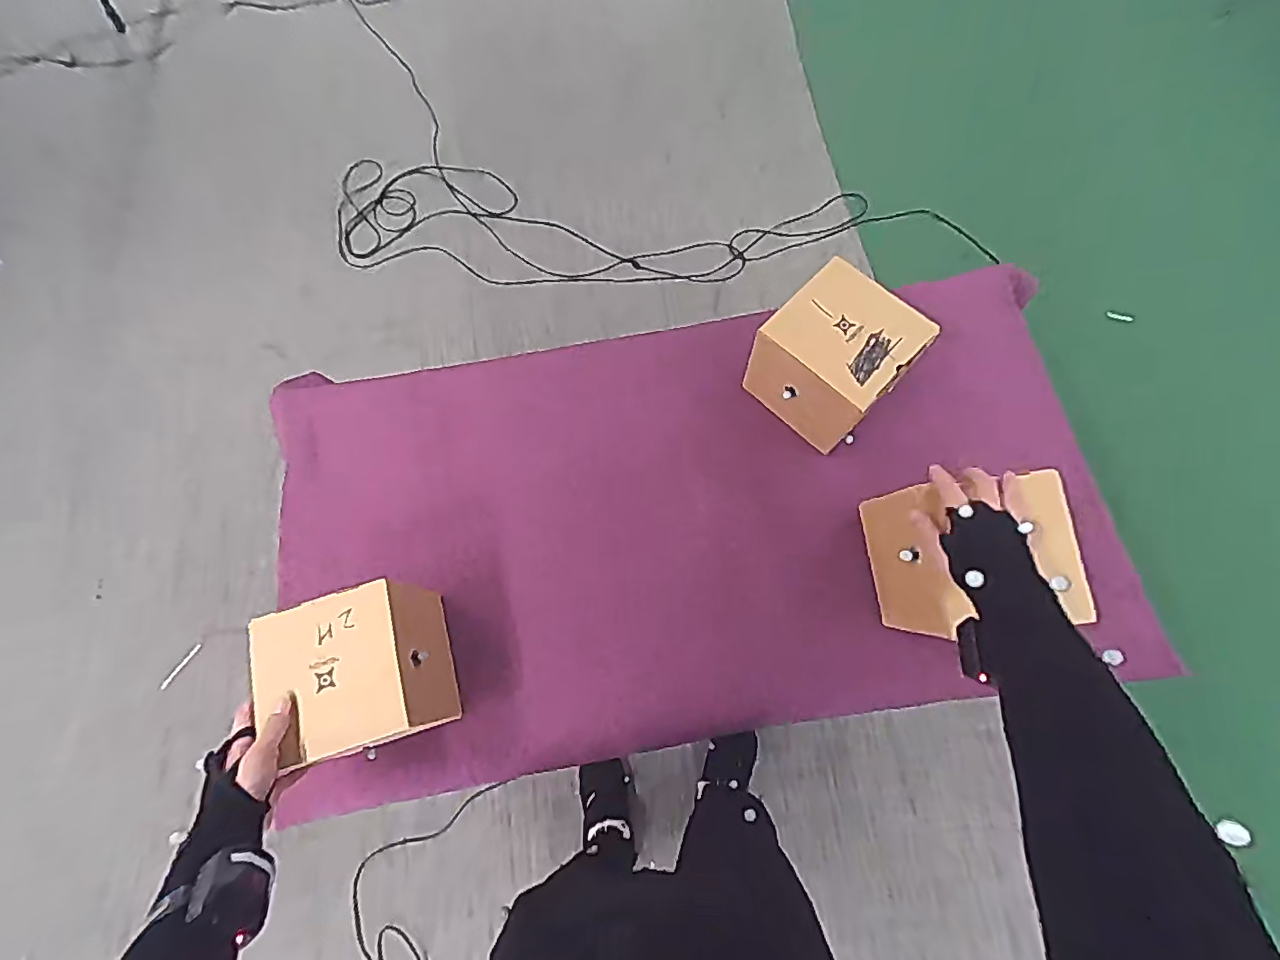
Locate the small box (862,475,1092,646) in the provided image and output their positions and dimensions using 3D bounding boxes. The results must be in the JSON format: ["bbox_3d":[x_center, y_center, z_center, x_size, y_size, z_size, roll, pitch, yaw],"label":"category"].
[{"bbox_3d":[0.403,0.101,0.680,0.168,0.176,0.179,-7,79,0],"label":"small box"}]

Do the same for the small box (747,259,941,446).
[{"bbox_3d":[0.278,-0.169,0.783,0.168,0.176,0.179,-43,75,-10],"label":"small box"}]

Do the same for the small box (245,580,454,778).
[{"bbox_3d":[-0.350,0.240,0.676,0.168,0.176,0.179,-16,71,-4],"label":"small box"}]
